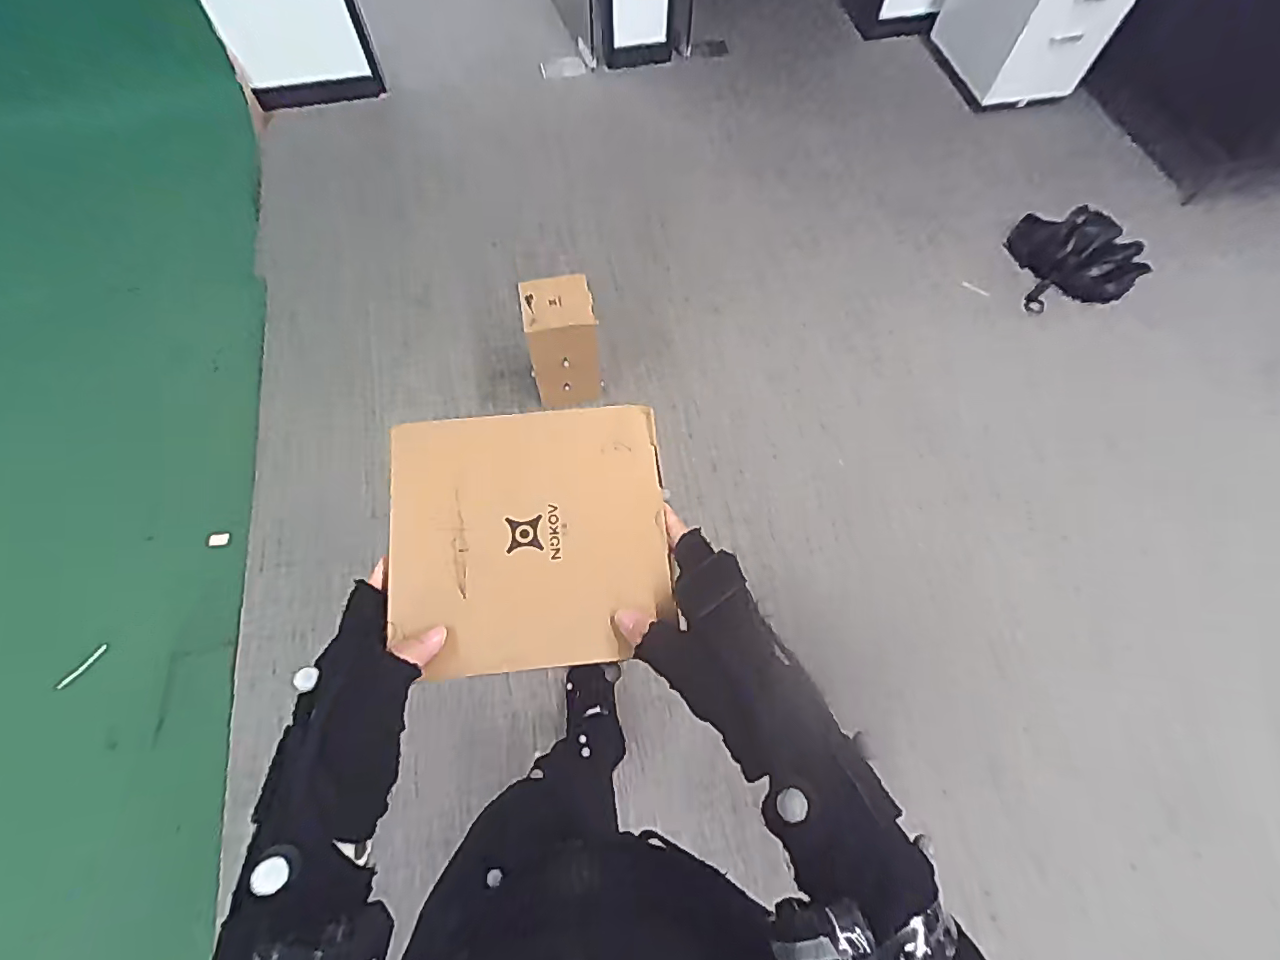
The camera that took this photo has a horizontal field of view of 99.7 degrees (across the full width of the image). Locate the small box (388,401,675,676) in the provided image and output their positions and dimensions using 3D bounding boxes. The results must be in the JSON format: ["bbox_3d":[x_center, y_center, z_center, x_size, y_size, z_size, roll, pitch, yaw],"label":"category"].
[{"bbox_3d":[-0.076,0.054,0.425,0.179,0.176,0.168,-7,73,-3],"label":"small box"}]

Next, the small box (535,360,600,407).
[{"bbox_3d":[-0.208,-0.329,1.562,0.179,0.176,0.168,-7,63,-4],"label":"small box"}]

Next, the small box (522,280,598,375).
[{"bbox_3d":[-0.204,-0.394,1.414,0.179,0.176,0.168,-8,65,-5],"label":"small box"}]
